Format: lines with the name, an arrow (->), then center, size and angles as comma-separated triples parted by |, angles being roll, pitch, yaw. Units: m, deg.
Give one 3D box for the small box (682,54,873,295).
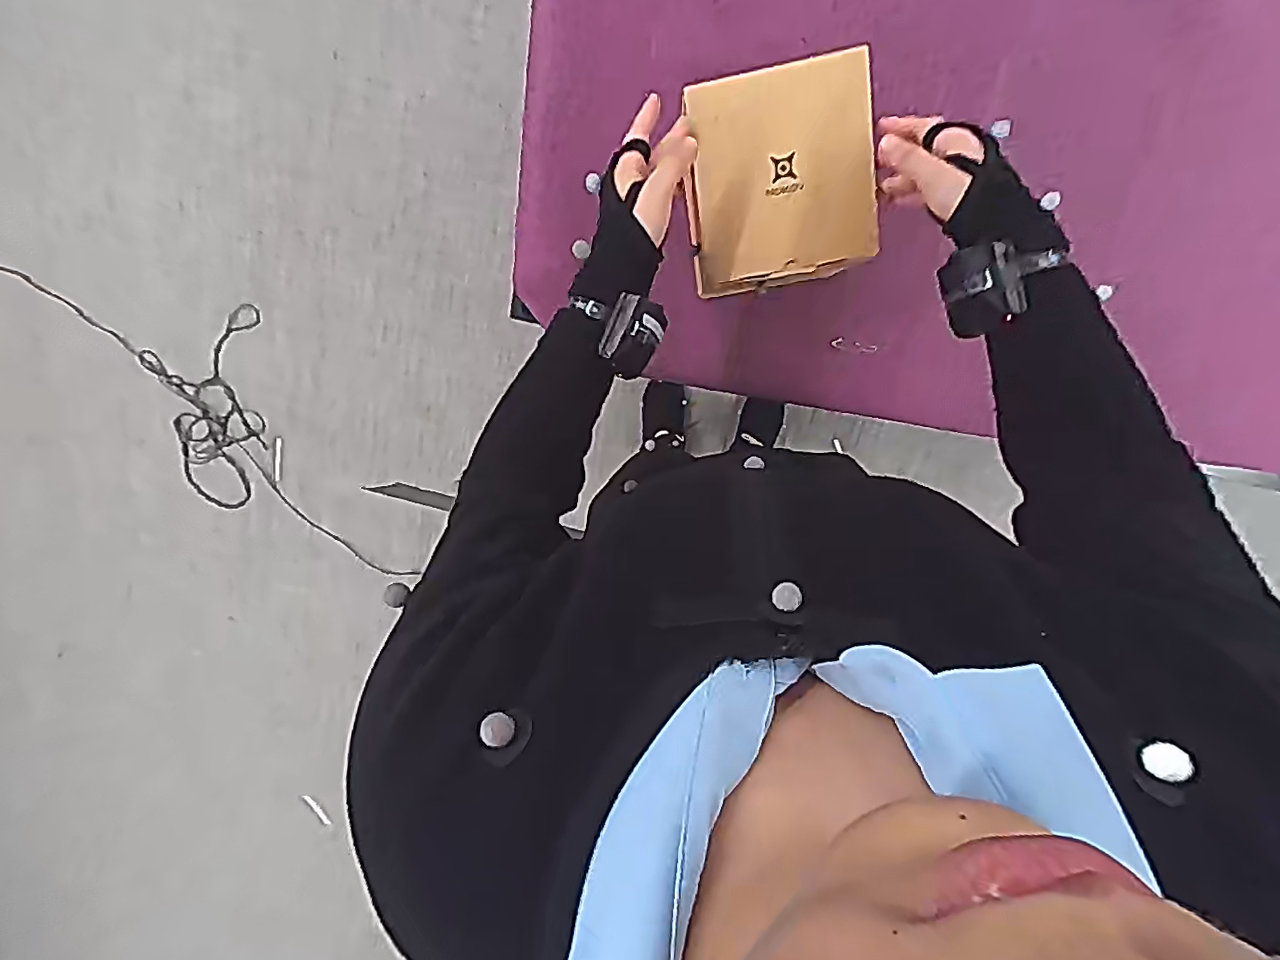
small box -> 0.135, -0.303, 0.578 | 0.168, 0.176, 0.179 | -7, 106, 6
